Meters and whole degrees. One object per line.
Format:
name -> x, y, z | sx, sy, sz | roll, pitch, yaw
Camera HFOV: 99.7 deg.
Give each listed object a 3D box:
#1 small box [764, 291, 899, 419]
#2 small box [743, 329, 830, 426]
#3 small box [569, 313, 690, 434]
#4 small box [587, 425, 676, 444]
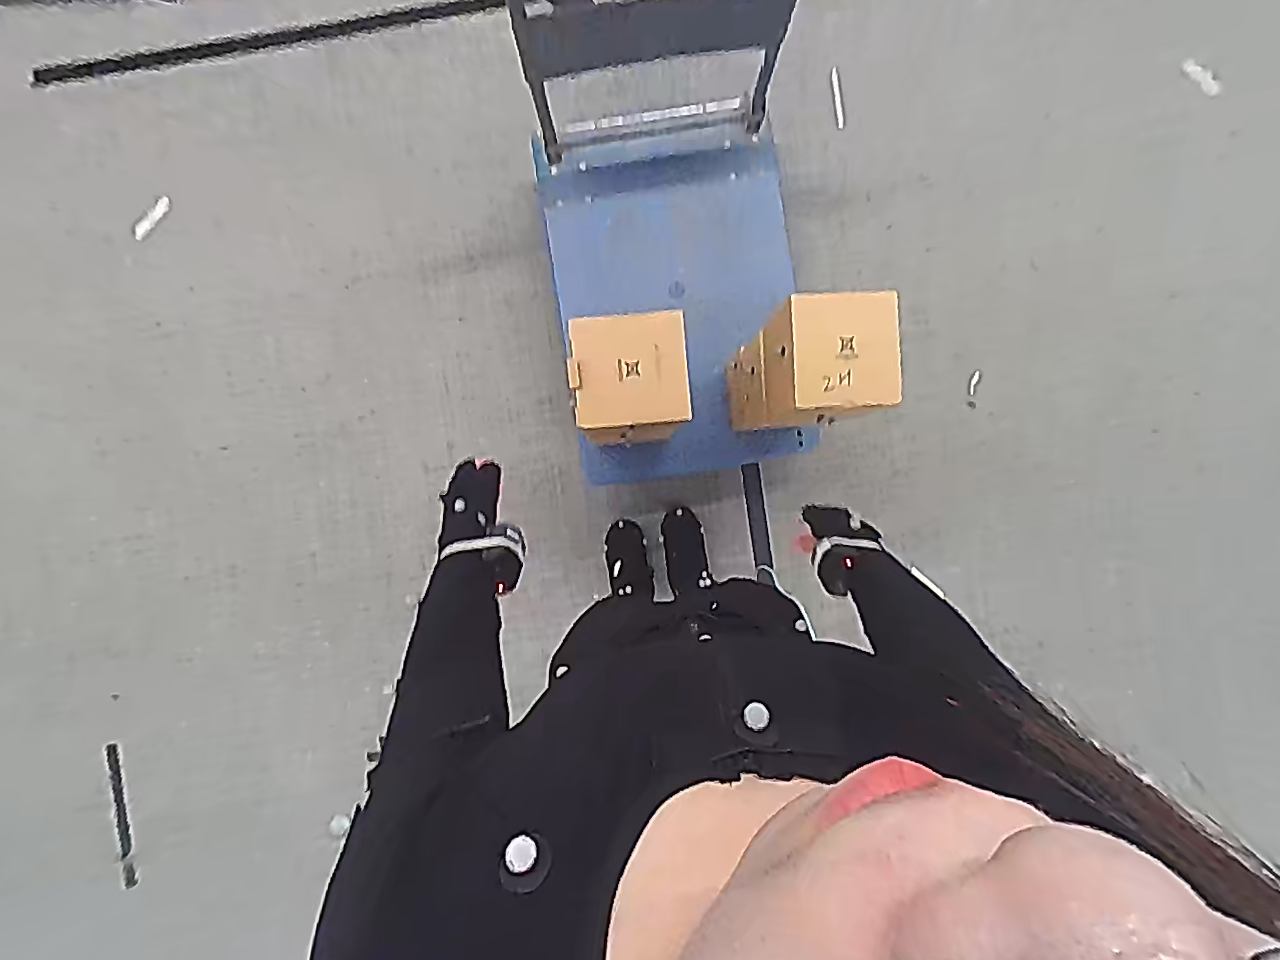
small box -> 0.307, -0.199, 0.899 | 0.168, 0.176, 0.179 | -2, 91, -1
small box -> 0.304, -0.198, 1.064 | 0.179, 0.176, 0.168 | -4, 91, -2
small box -> -0.016, -0.167, 0.893 | 0.179, 0.176, 0.168 | -5, 92, -2
small box -> -0.026, -0.172, 1.057 | 0.168, 0.176, 0.179 | -8, 90, -1
